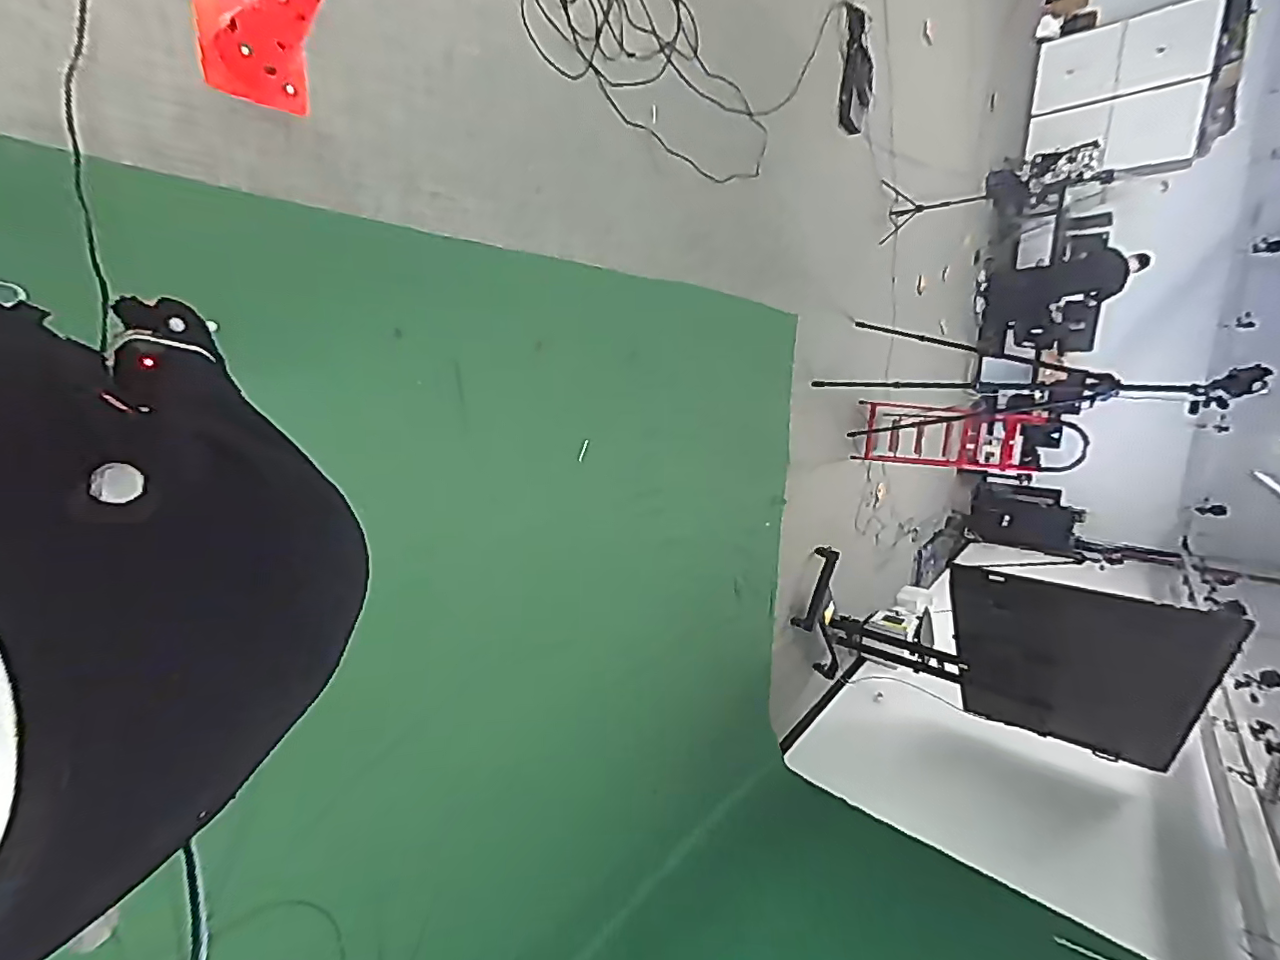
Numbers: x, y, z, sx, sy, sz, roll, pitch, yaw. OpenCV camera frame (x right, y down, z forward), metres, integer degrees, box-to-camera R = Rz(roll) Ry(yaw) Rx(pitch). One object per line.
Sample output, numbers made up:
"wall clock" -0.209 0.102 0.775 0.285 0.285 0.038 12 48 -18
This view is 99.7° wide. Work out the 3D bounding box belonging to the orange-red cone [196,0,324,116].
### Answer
"orange-red cone" -0.704 -0.908 1.067 0.198 0.360 0.199 -12 106 -48
